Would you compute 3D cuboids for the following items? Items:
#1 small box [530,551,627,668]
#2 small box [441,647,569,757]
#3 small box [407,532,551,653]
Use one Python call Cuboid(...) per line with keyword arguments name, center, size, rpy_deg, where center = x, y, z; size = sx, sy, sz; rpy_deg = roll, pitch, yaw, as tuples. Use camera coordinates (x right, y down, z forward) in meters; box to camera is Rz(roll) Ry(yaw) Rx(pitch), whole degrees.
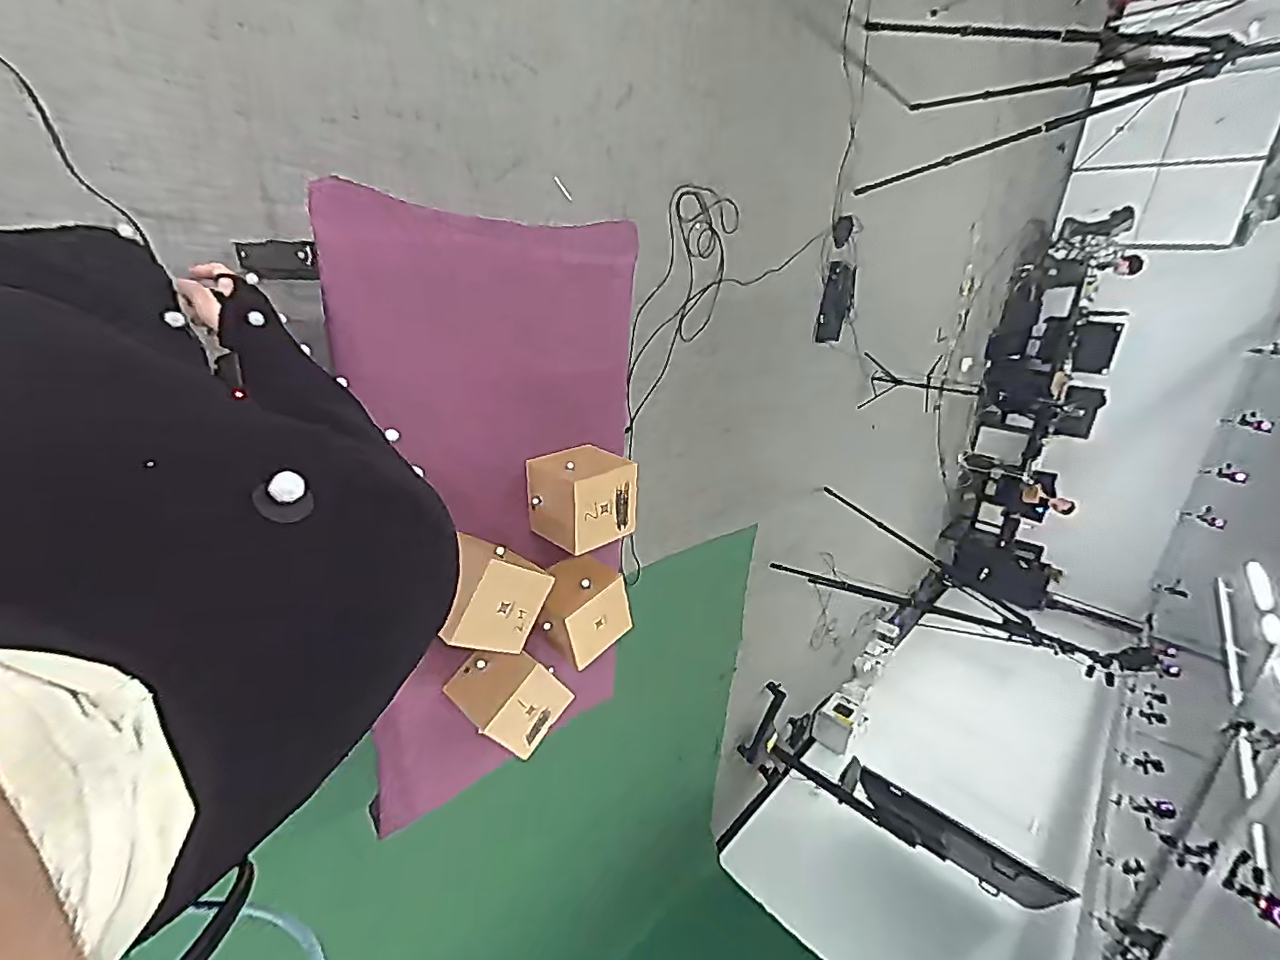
Cuboid(name="small box", center=(-0.158, 0.299, 1.279), size=(0.179, 0.176, 0.168), rpy_deg=(-33, 129, -36))
Cuboid(name="small box", center=(-0.296, 0.465, 1.190), size=(0.168, 0.176, 0.179), rpy_deg=(-50, 136, -23))
Cuboid(name="small box", center=(-0.316, 0.216, 1.054), size=(0.179, 0.176, 0.168), rpy_deg=(34, 80, -52))
